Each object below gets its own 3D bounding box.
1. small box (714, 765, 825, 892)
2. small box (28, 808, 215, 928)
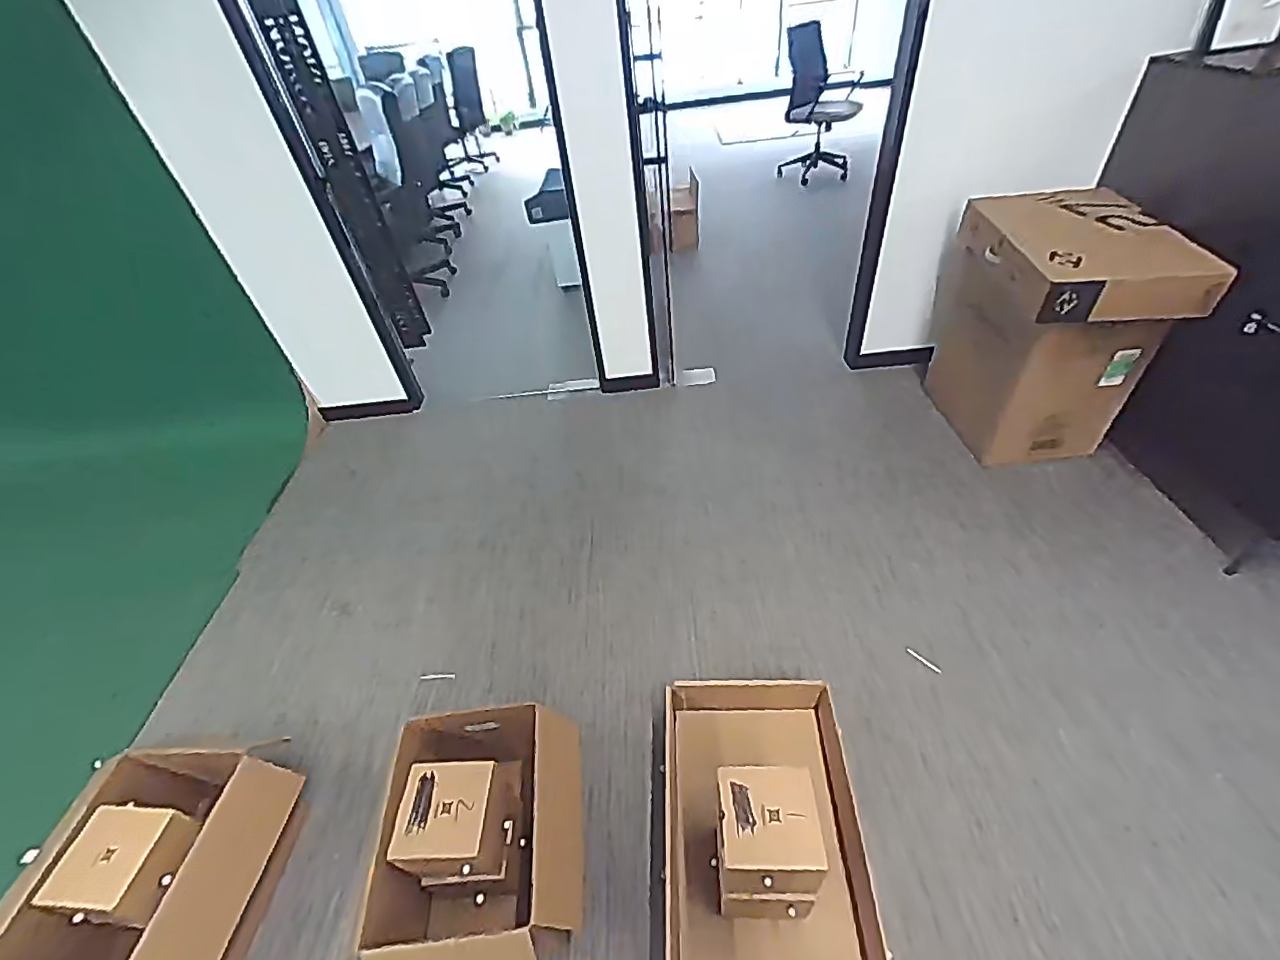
[{"bbox_3d":[0.233,0.658,1.021,0.179,0.176,0.168,-2,41,3],"label":"small box"},{"bbox_3d":[-1.028,0.787,1.095,0.179,0.176,0.168,-1,42,5],"label":"small box"}]
